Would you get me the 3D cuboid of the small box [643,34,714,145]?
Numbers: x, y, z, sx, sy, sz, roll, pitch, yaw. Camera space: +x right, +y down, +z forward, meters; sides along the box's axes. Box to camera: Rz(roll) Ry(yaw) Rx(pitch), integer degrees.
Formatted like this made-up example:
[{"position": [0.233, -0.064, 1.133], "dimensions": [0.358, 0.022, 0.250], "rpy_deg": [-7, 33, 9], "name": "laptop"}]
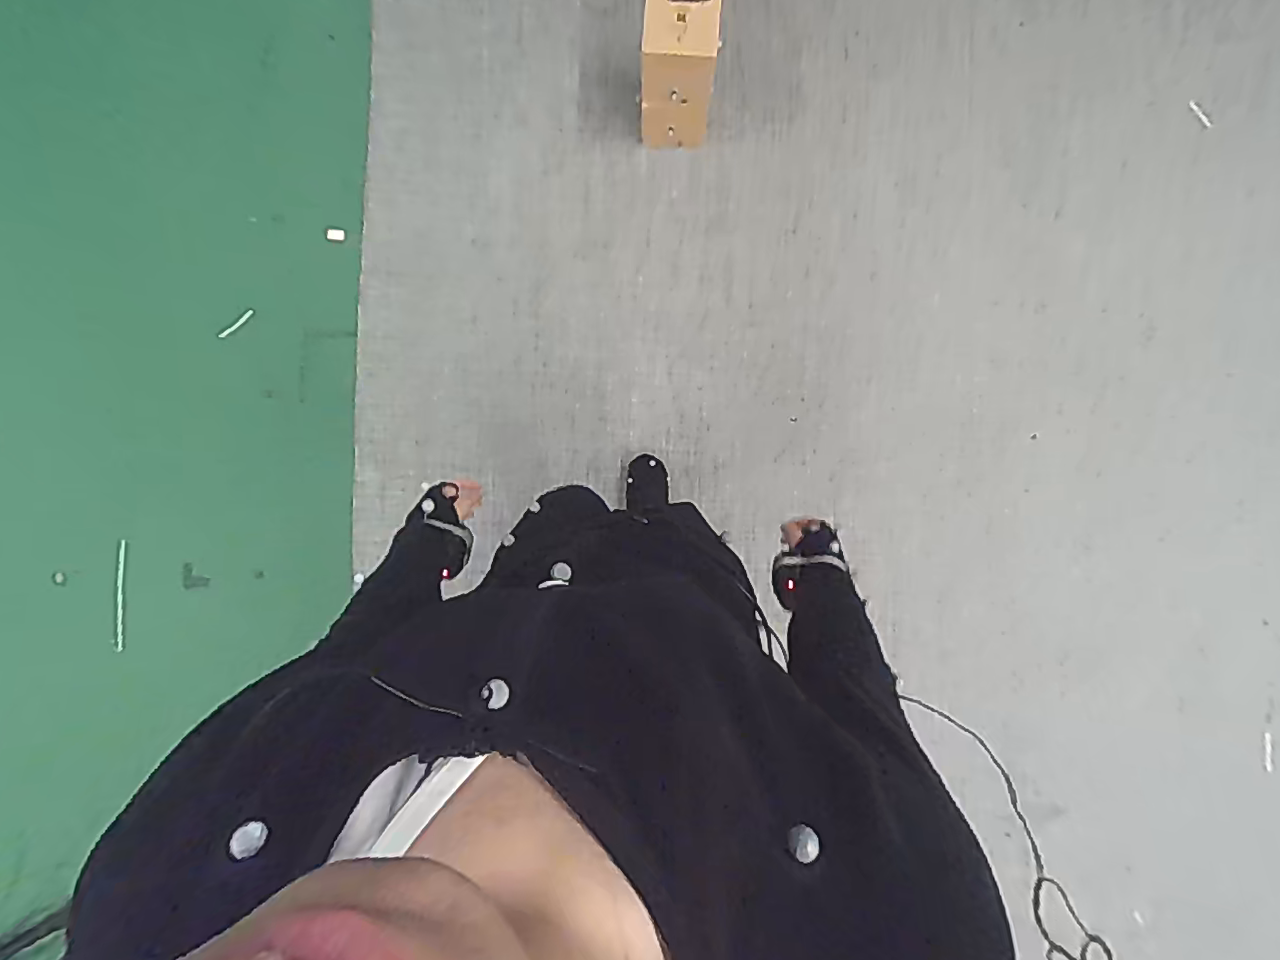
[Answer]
[{"position": [0.096, -1.002, 1.401], "dimensions": [0.168, 0.176, 0.179], "rpy_deg": [3, 91, 1], "name": "small box"}]
